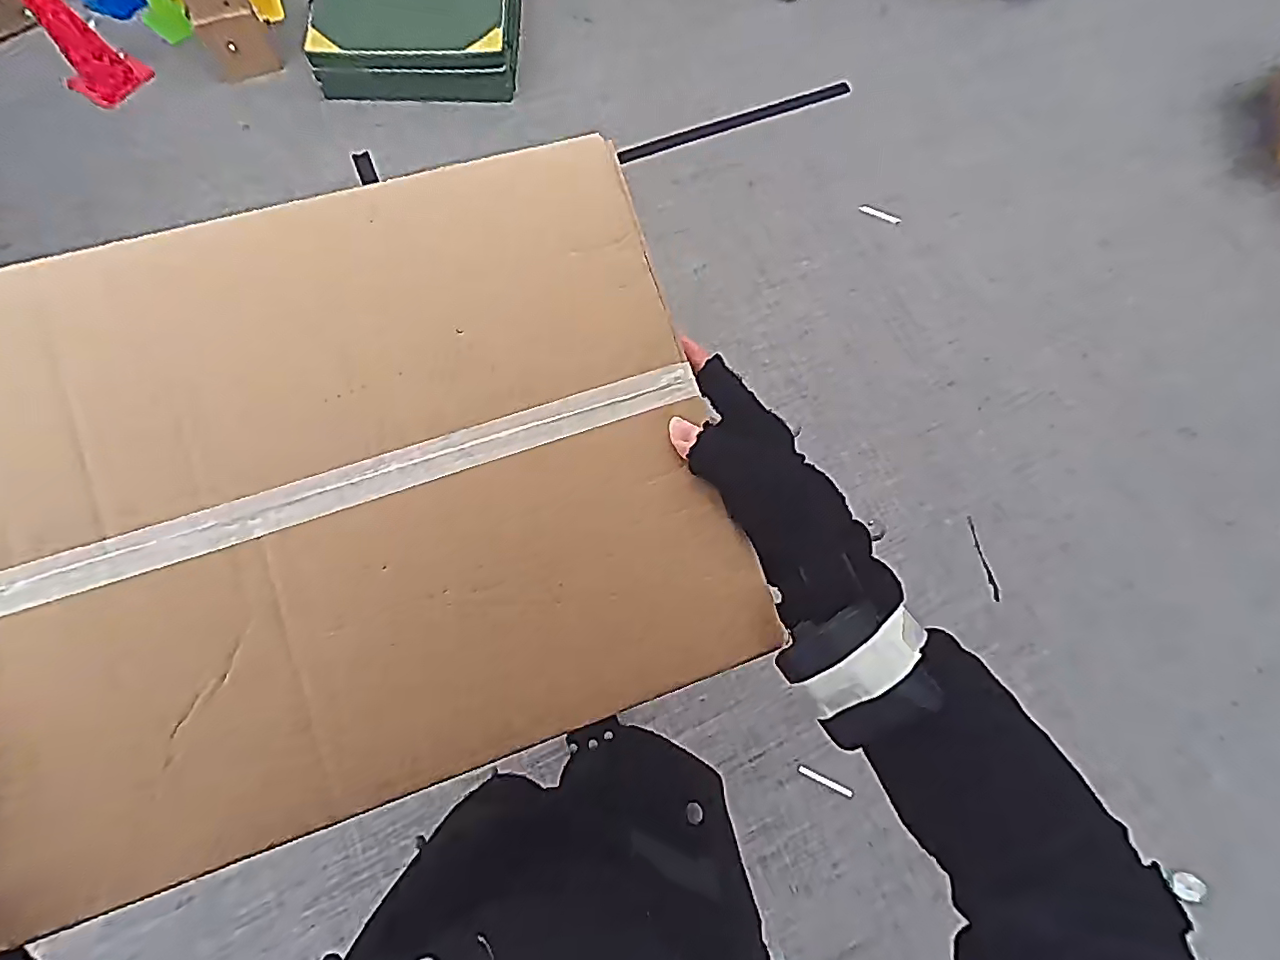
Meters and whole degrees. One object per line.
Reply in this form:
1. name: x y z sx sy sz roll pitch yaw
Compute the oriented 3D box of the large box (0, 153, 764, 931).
1. large box: -0.176 0.021 0.436 0.408 0.320 0.320 -18 86 -8
